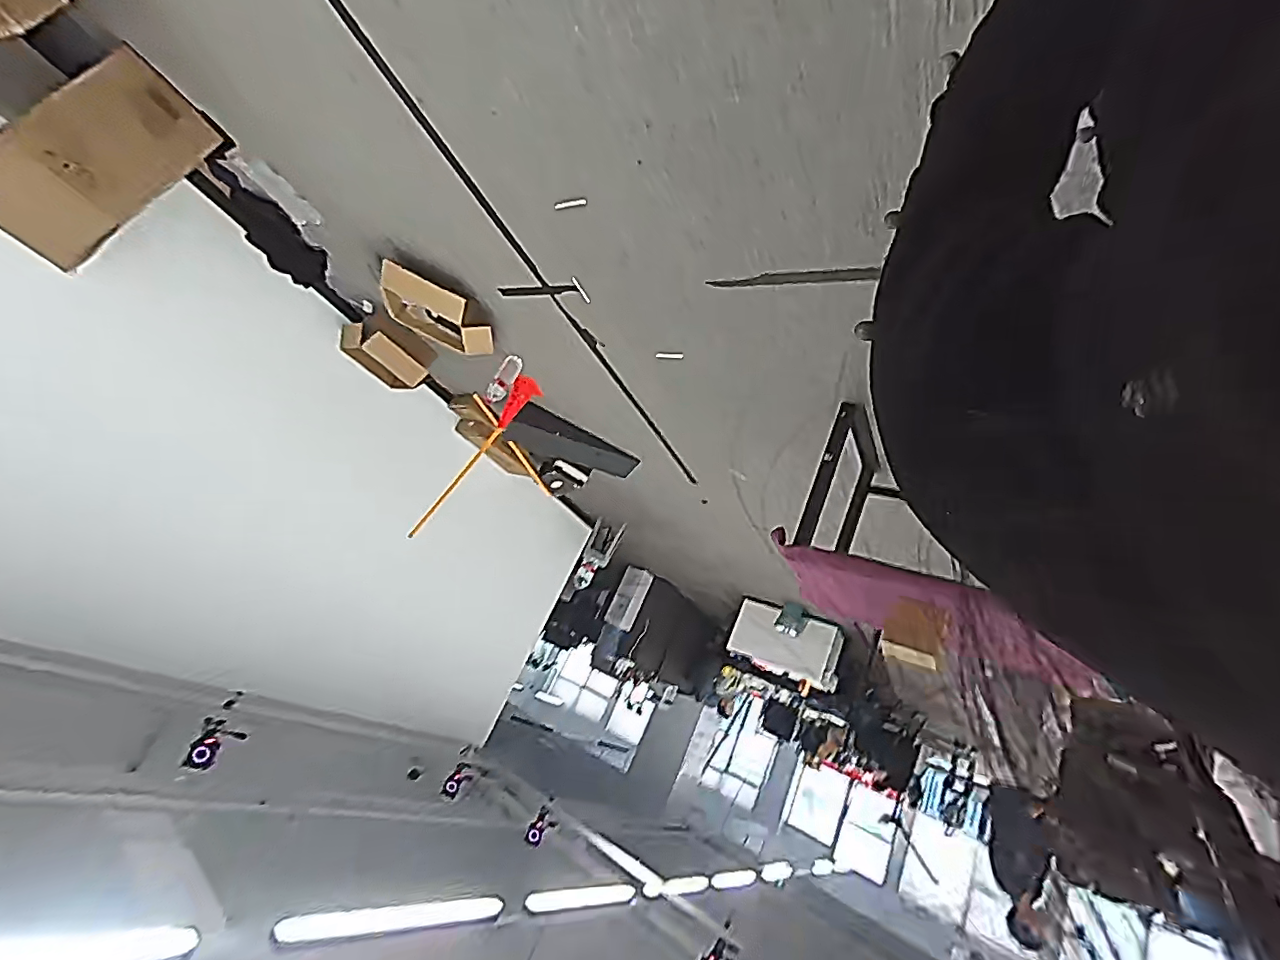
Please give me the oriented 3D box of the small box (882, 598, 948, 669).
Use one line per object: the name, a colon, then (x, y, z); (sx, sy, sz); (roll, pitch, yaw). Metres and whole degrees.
small box: (0.956, 0.528, 1.875); (0.179, 0.176, 0.168); (13, 156, 34)
